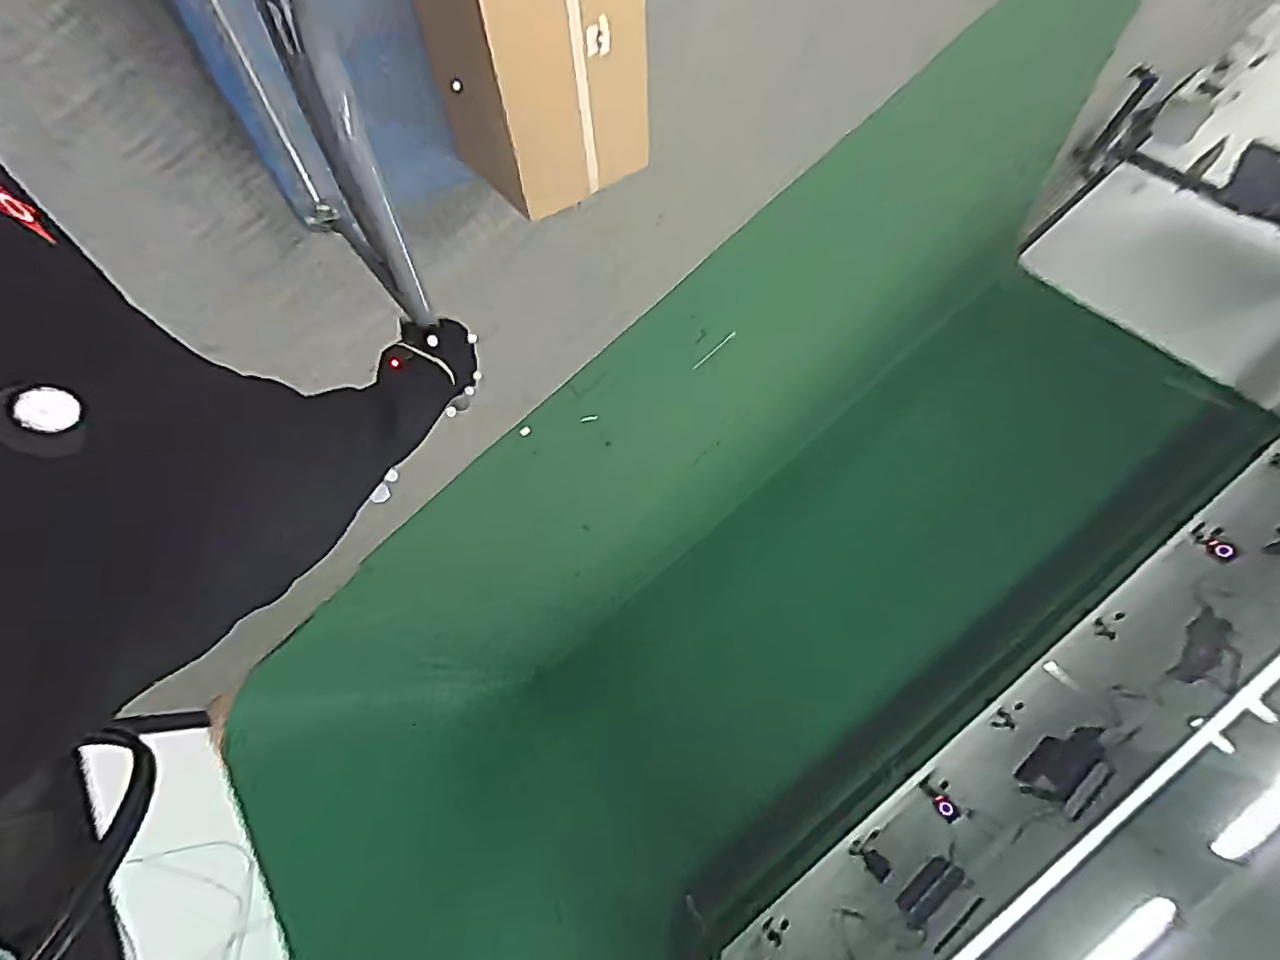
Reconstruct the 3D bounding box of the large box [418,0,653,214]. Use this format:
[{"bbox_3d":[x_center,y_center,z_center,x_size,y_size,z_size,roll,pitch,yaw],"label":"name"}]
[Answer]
[{"bbox_3d":[-0.195,-0.820,1.037,0.320,0.320,0.408,-35,154,-15],"label":"large box"}]
